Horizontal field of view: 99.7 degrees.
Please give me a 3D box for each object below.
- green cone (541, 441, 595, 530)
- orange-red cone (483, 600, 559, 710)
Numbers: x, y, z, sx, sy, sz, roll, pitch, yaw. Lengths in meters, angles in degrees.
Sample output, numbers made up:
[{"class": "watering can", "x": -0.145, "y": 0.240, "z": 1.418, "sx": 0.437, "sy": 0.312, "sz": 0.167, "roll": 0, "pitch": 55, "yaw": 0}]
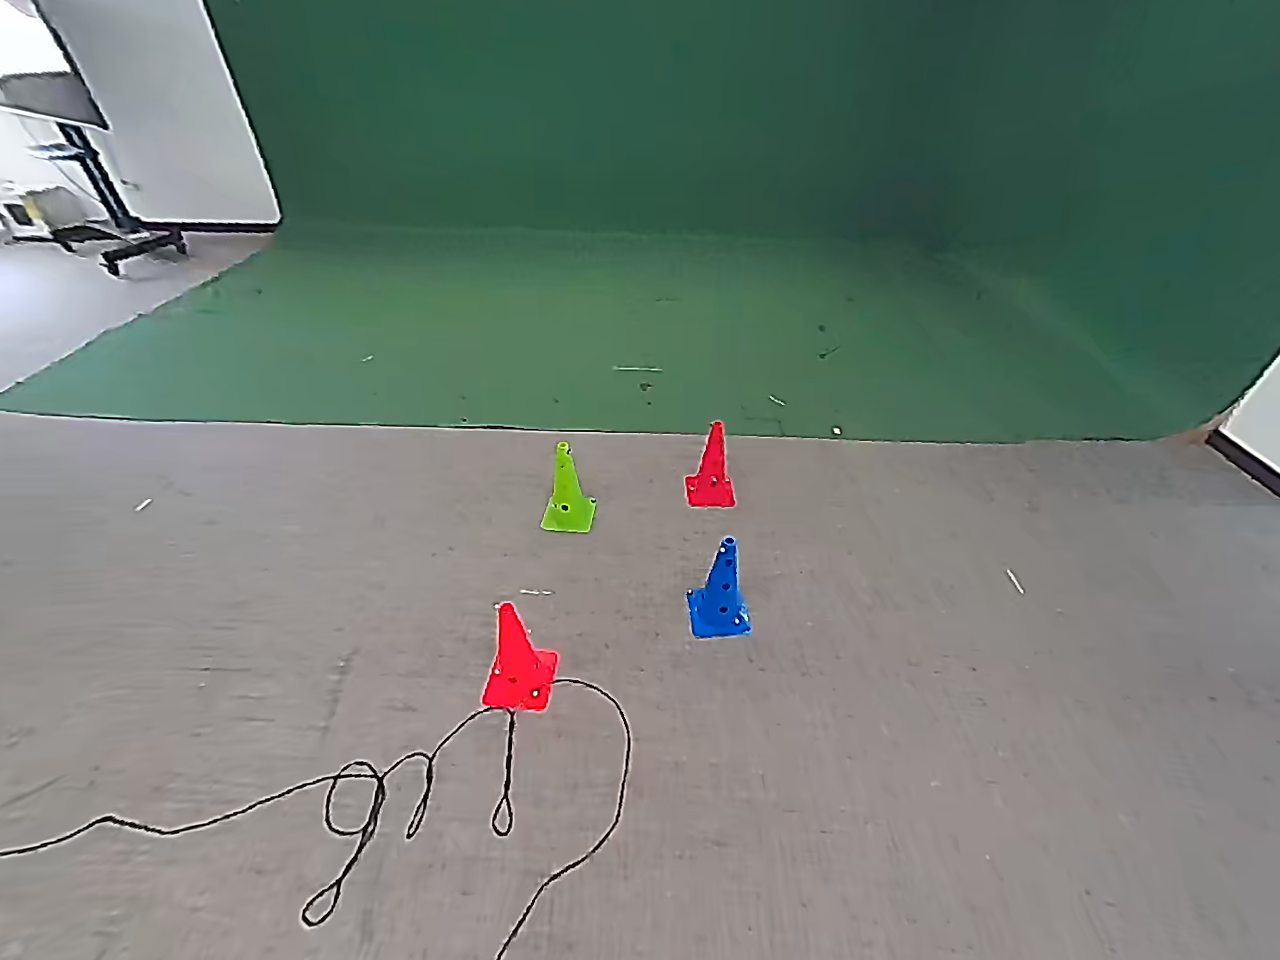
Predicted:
[{"class": "green cone", "x": -0.293, "y": 0.000, "z": 2.109, "sx": 0.200, "sy": 0.368, "sz": 0.202, "roll": 3, "pitch": 41, "yaw": 3}, {"class": "orange-red cone", "x": -0.357, "y": 0.470, "z": 1.552, "sx": 0.198, "sy": 0.360, "sz": 0.199, "roll": 5, "pitch": 39, "yaw": 4}]
